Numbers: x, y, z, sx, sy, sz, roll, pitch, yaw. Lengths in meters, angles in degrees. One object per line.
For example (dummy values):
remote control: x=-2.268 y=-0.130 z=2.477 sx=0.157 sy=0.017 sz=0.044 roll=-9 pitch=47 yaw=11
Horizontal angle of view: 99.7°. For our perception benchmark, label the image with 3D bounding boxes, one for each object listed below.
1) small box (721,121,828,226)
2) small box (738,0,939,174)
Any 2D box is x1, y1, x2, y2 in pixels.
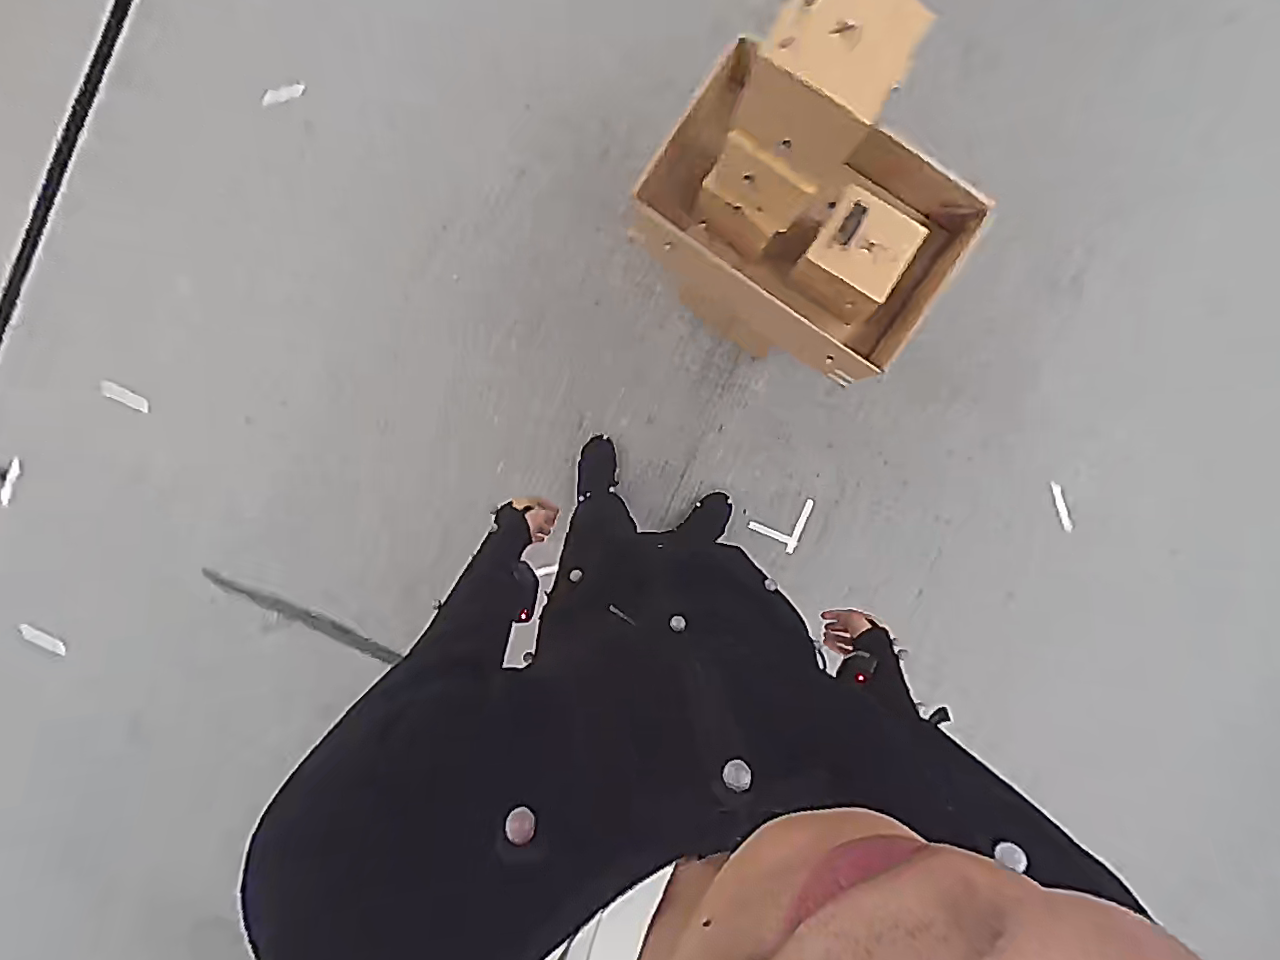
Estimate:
small box: x=0.257 y=-0.579 z=0.934 sx=0.168 sy=0.176 sz=0.179 roll=33 pitch=92 yaw=-4
small box: x=0.268 y=-0.576 z=0.771 sx=0.179 sy=0.176 sz=0.168 roll=32 pitch=92 yaw=-4
